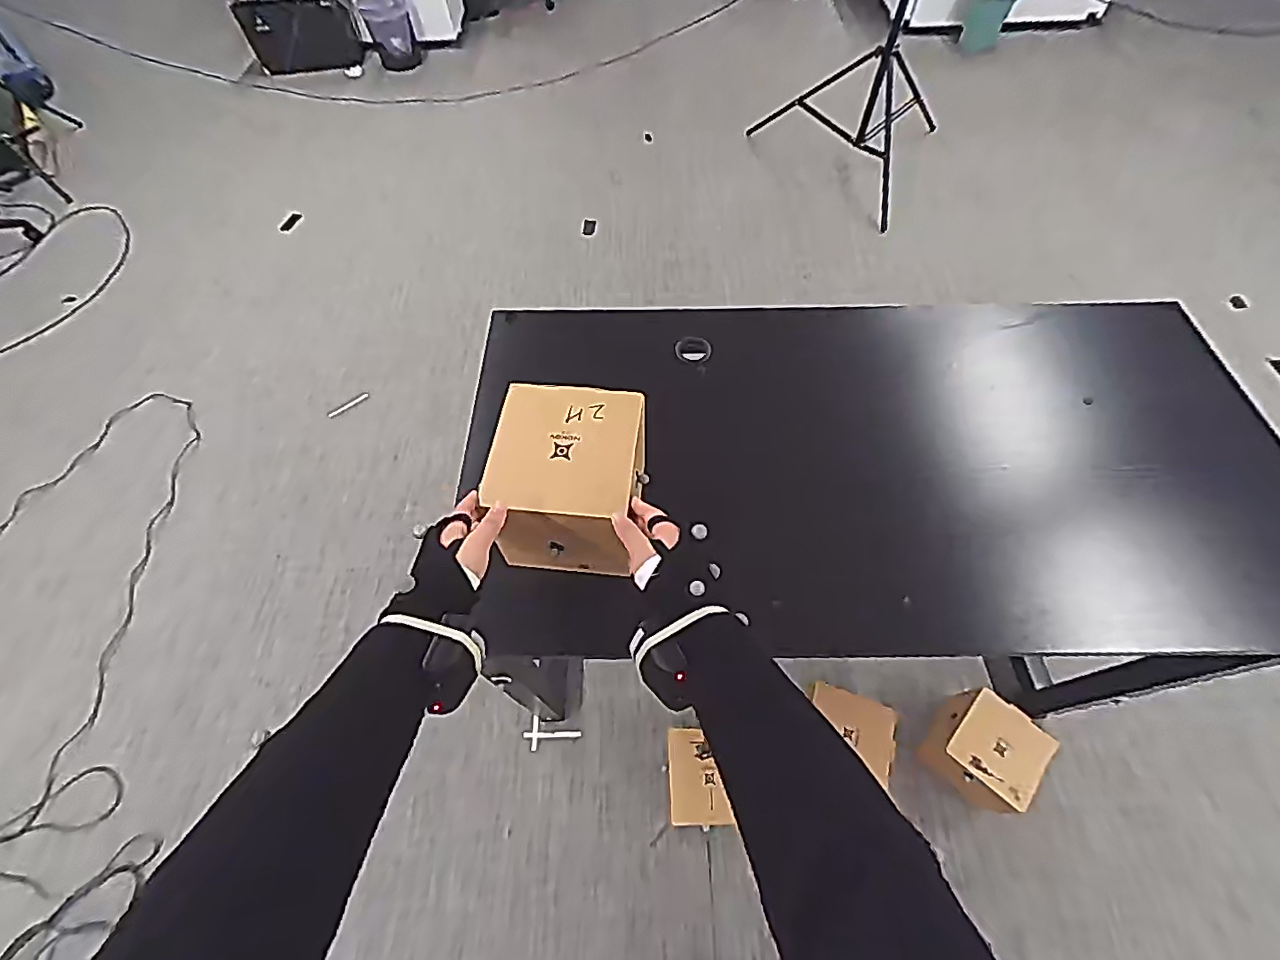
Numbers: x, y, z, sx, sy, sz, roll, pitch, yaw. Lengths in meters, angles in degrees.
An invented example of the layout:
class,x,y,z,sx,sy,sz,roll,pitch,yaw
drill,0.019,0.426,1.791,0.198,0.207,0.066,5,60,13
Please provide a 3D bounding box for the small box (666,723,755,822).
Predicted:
class,x,y,z,sx,sy,sz,roll,pitch,yaw
small box,0.142,0.628,1.159,0.168,0.176,0.179,-2,61,0

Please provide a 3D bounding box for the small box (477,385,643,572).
class,x,y,z,sx,sy,sz,roll,pitch,yaw
small box,-0.086,0.005,0.685,0.168,0.176,0.179,5,59,3

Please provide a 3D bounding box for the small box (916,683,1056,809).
class,x,y,z,sx,sy,sz,roll,pitch,yaw
small box,0.738,0.577,1.173,0.168,0.176,0.179,38,67,22

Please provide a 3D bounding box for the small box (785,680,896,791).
class,x,y,z,sx,sy,sz,roll,pitch,yaw
small box,0.435,0.566,1.191,0.179,0.176,0.168,17,60,12
